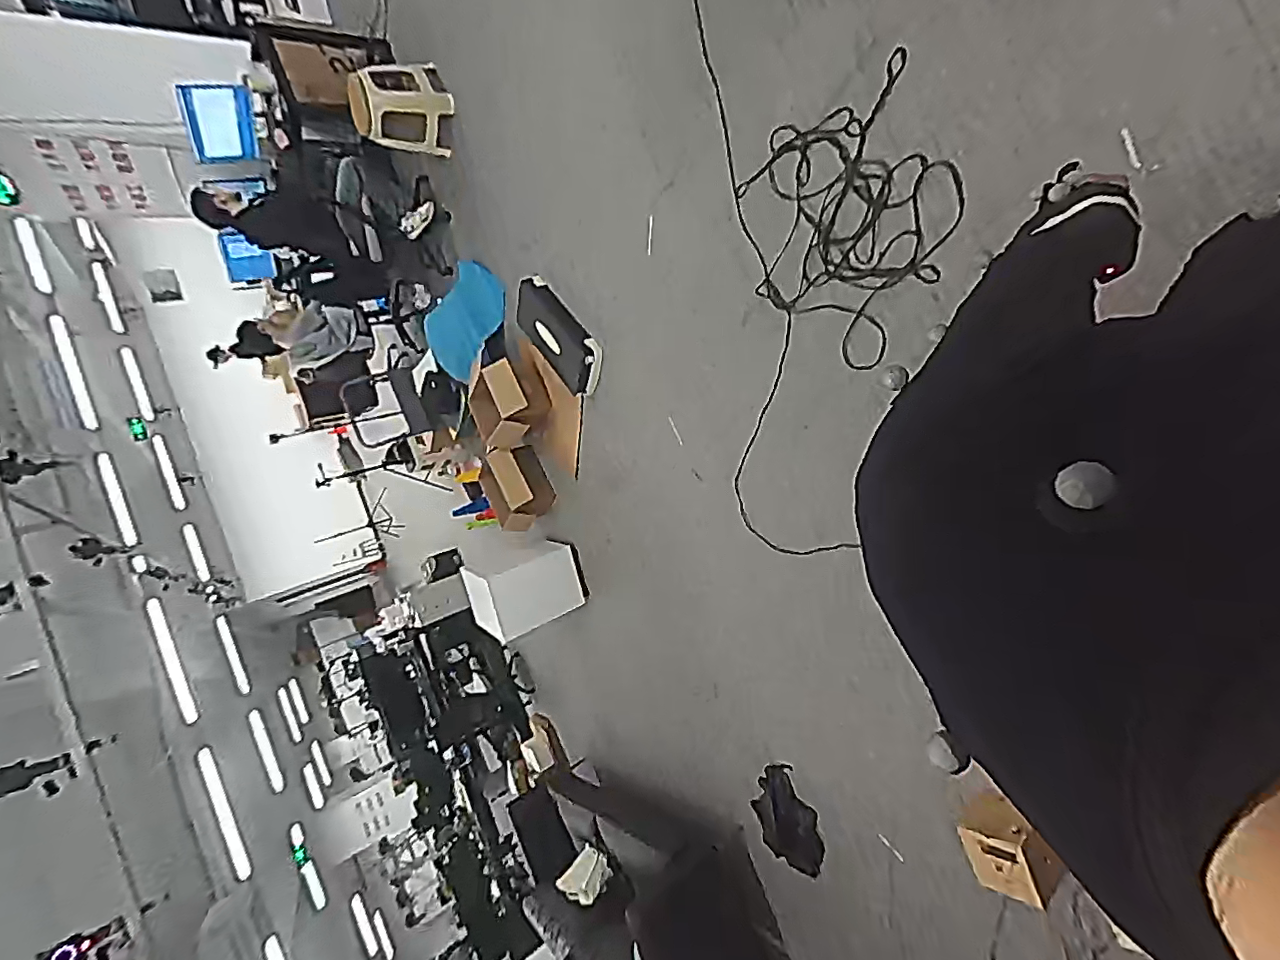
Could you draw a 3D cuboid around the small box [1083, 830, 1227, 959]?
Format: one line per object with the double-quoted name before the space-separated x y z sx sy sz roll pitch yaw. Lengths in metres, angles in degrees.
"small box" 1.145 0.933 1.201 0.168 0.176 0.179 -29 82 58
